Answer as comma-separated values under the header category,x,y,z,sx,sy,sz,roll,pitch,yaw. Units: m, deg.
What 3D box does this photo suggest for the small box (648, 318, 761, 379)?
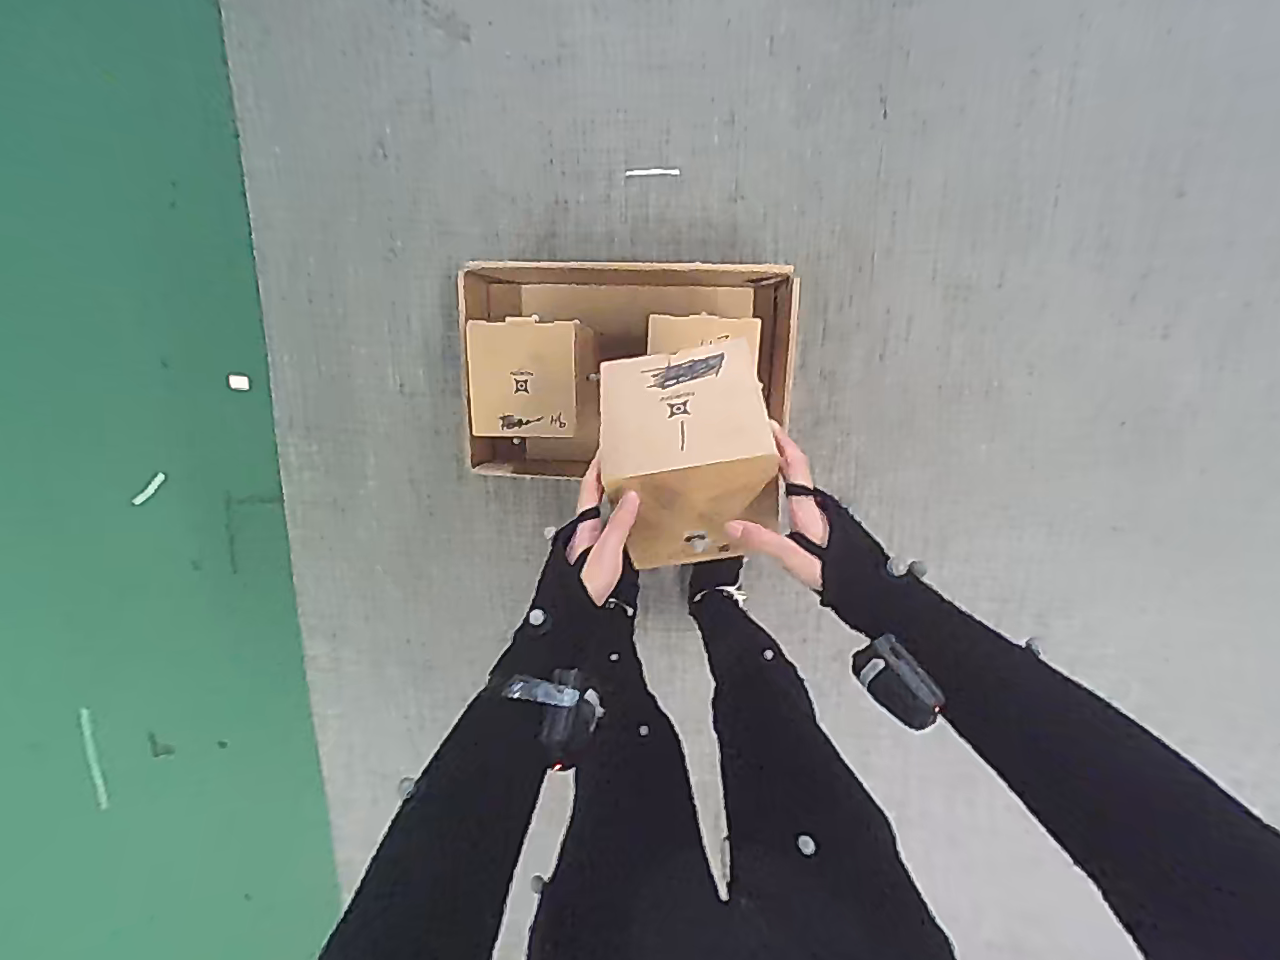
category,x,y,z,sx,sy,sz,roll,pitch,yaw
small box,0.099,-0.165,0.888,0.168,0.176,0.179,4,102,4

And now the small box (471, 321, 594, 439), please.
category,x,y,z,sx,sy,sz,roll,pitch,yaw
small box,-0.172,-0.166,0.904,0.168,0.176,0.179,2,101,4

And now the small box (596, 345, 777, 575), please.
category,x,y,z,sx,sy,sz,roll,pitch,yaw
small box,0.053,-0.019,0.599,0.168,0.179,0.176,-9,139,8
